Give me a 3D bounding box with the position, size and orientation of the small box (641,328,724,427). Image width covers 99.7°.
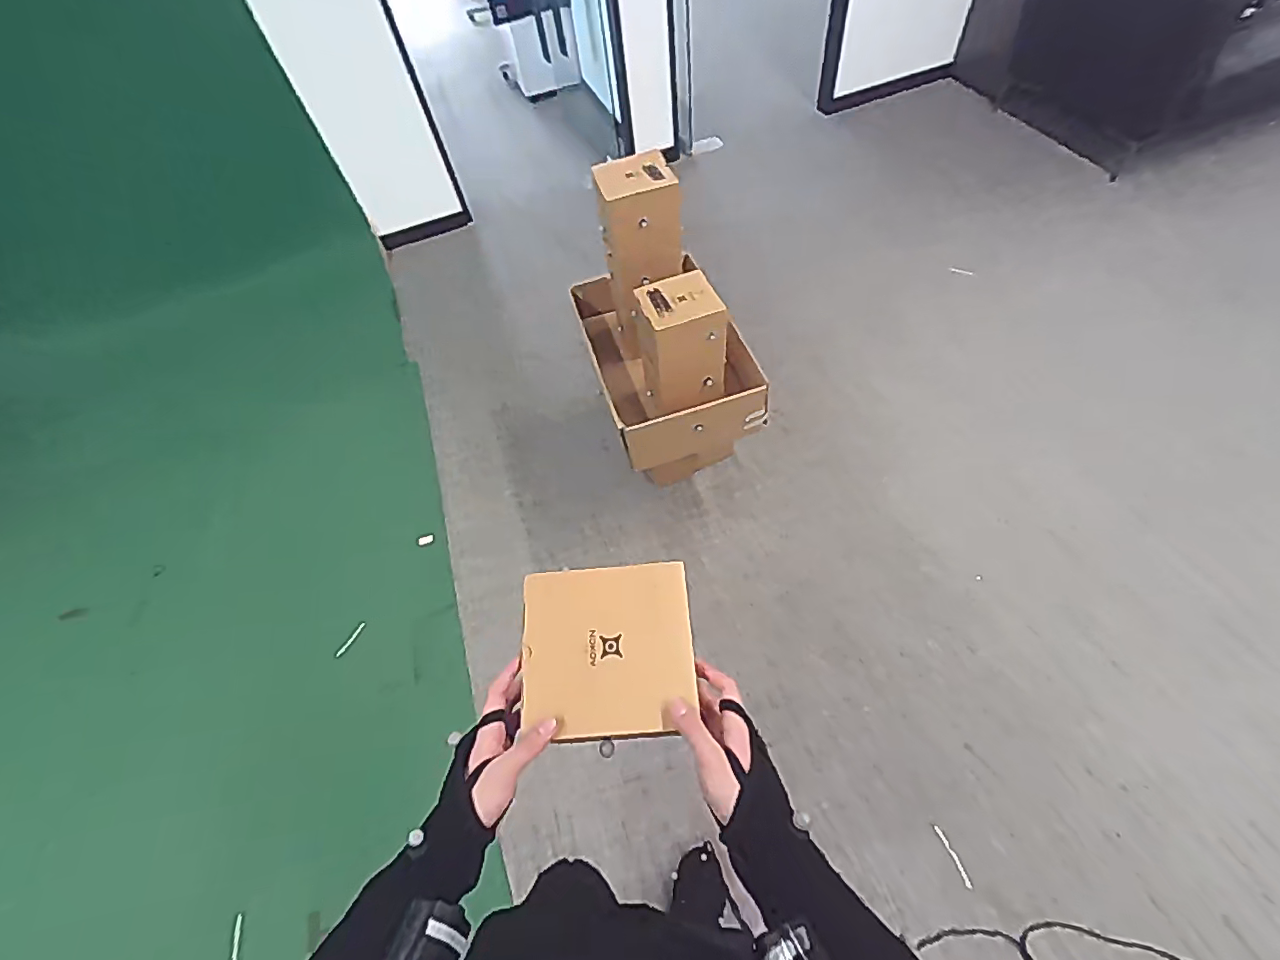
[{"bbox_3d":[0.112,-0.272,1.455,0.179,0.176,0.168,-18,56,-6],"label":"small box"}]

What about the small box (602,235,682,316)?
[{"bbox_3d":[0.010,-0.573,1.473,0.179,0.176,0.168,-16,58,-4],"label":"small box"}]

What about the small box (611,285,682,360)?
[{"bbox_3d":[0.023,-0.481,1.608,0.179,0.176,0.168,-14,57,-4],"label":"small box"}]

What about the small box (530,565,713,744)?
[{"bbox_3d":[-0.018,0.202,0.614,0.179,0.176,0.168,-5,64,2],"label":"small box"}]

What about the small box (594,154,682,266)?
[{"bbox_3d":[-0.003,-0.663,1.335,0.179,0.176,0.168,-16,58,-4],"label":"small box"}]
